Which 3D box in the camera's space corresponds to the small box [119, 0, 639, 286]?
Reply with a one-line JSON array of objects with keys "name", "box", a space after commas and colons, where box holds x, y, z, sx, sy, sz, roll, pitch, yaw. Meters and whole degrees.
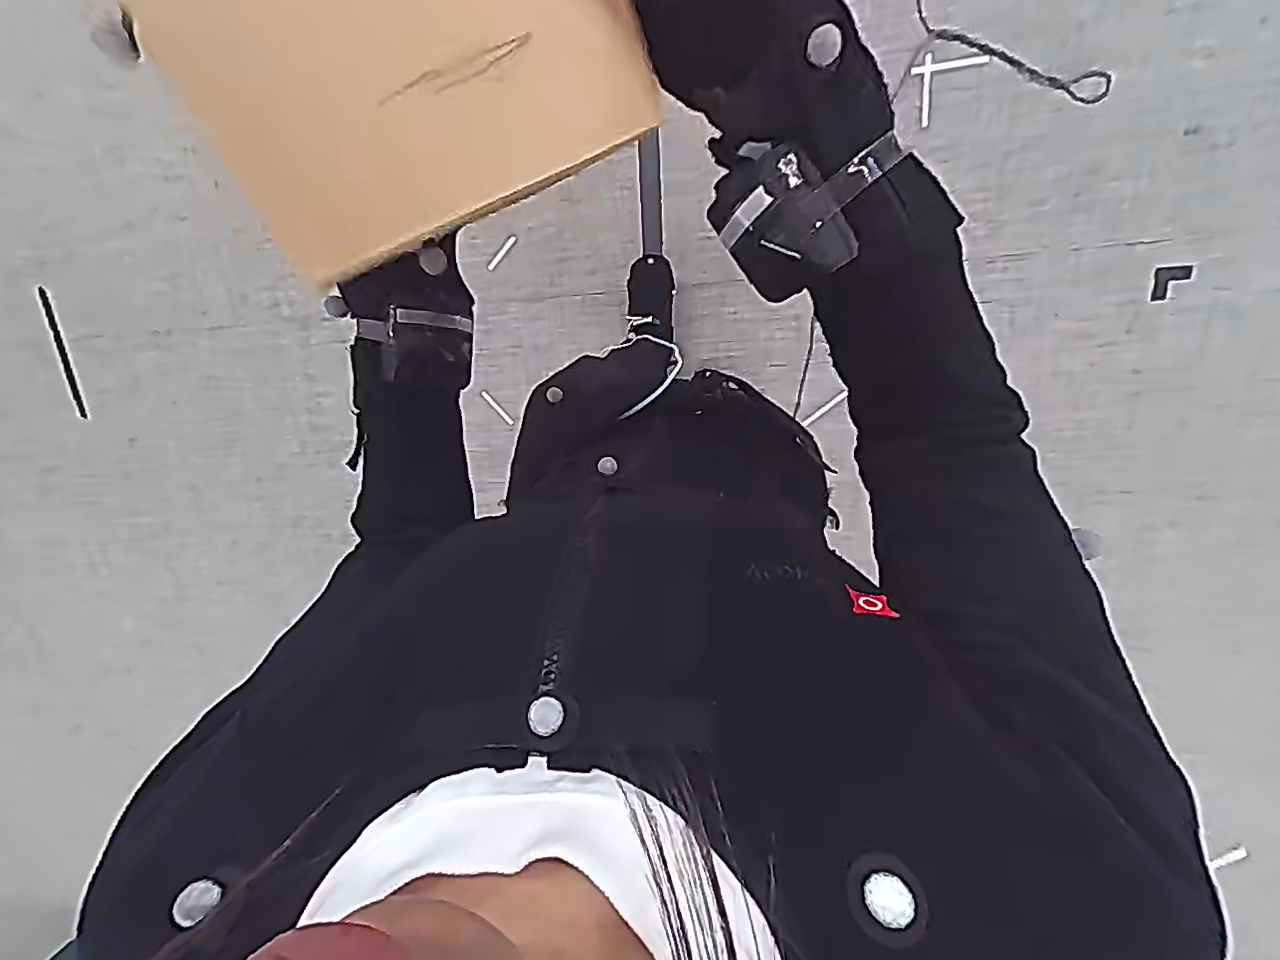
[{"name": "small box", "box": [-0.132, -0.211, 0.267, 0.168, 0.176, 0.179, -33, 119, -12]}]
